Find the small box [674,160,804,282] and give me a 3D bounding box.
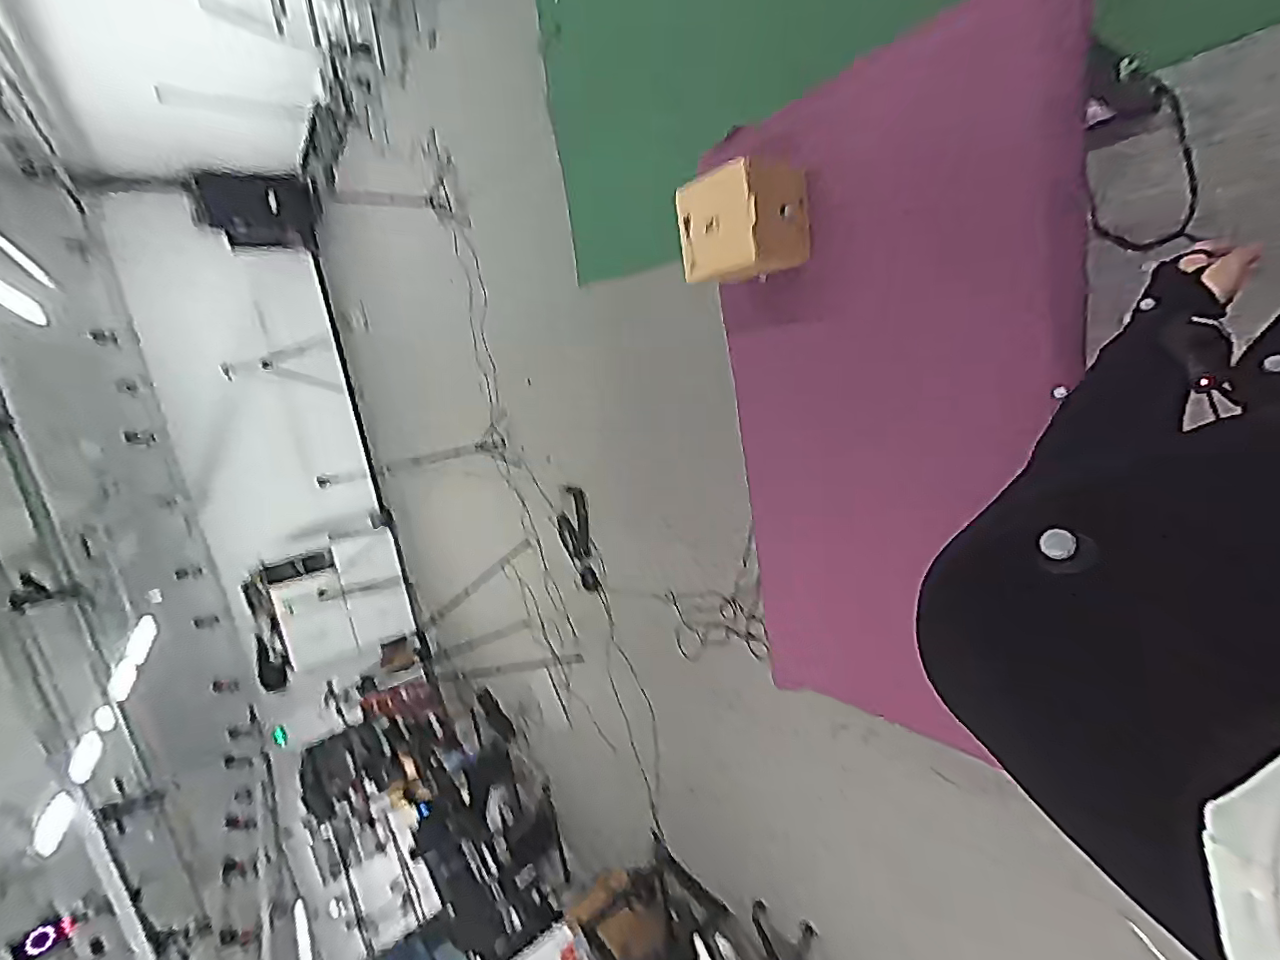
[{"bbox_3d":[0.193,-0.480,1.021,0.179,0.176,0.168,6,109,50],"label":"small box"}]
